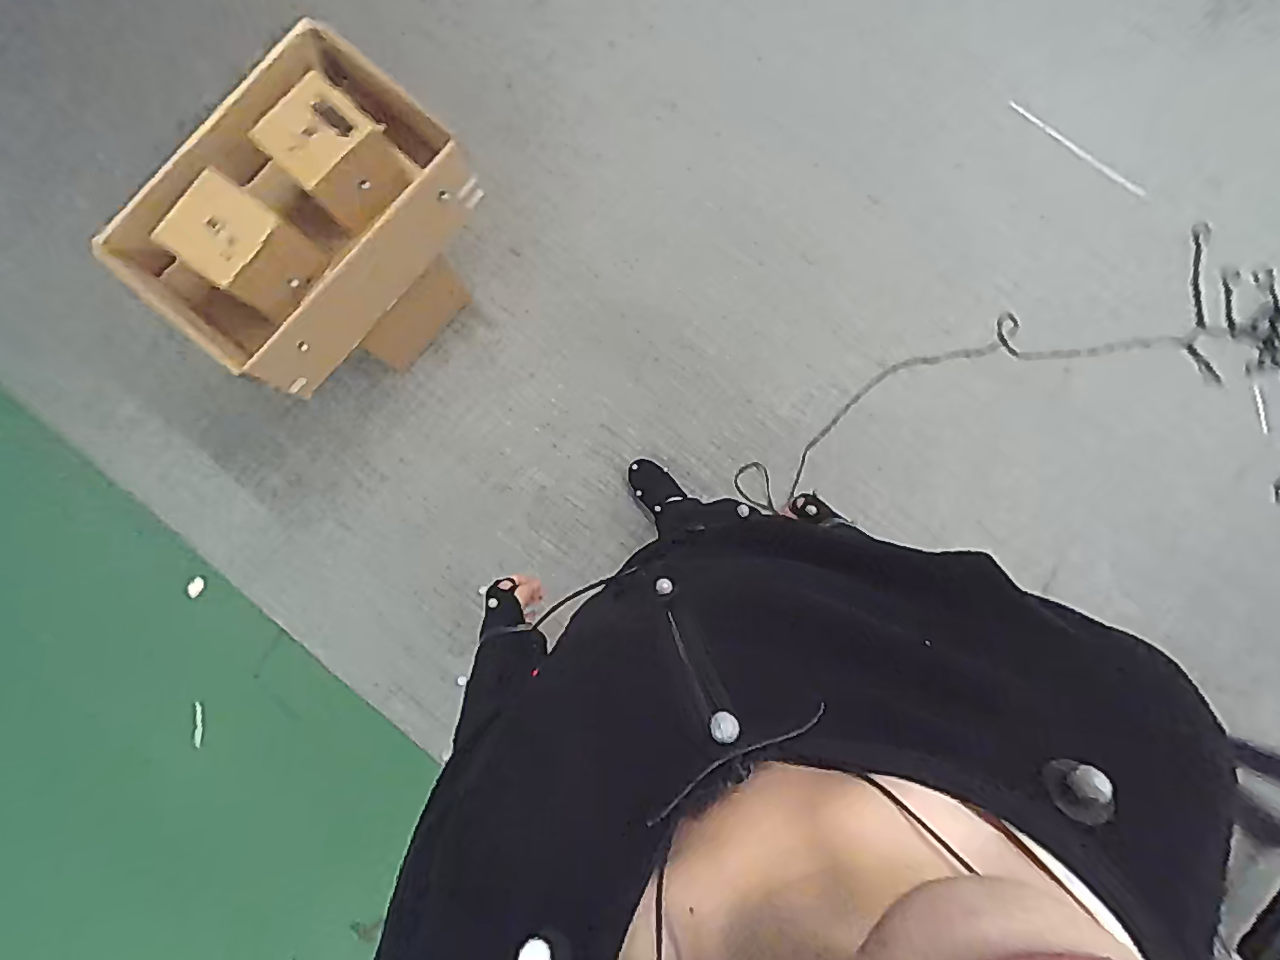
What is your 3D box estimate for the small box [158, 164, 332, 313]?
[{"bbox_3d":[-0.762,-0.460,1.062,0.179,0.176,0.168,37,86,3],"label":"small box"}]
